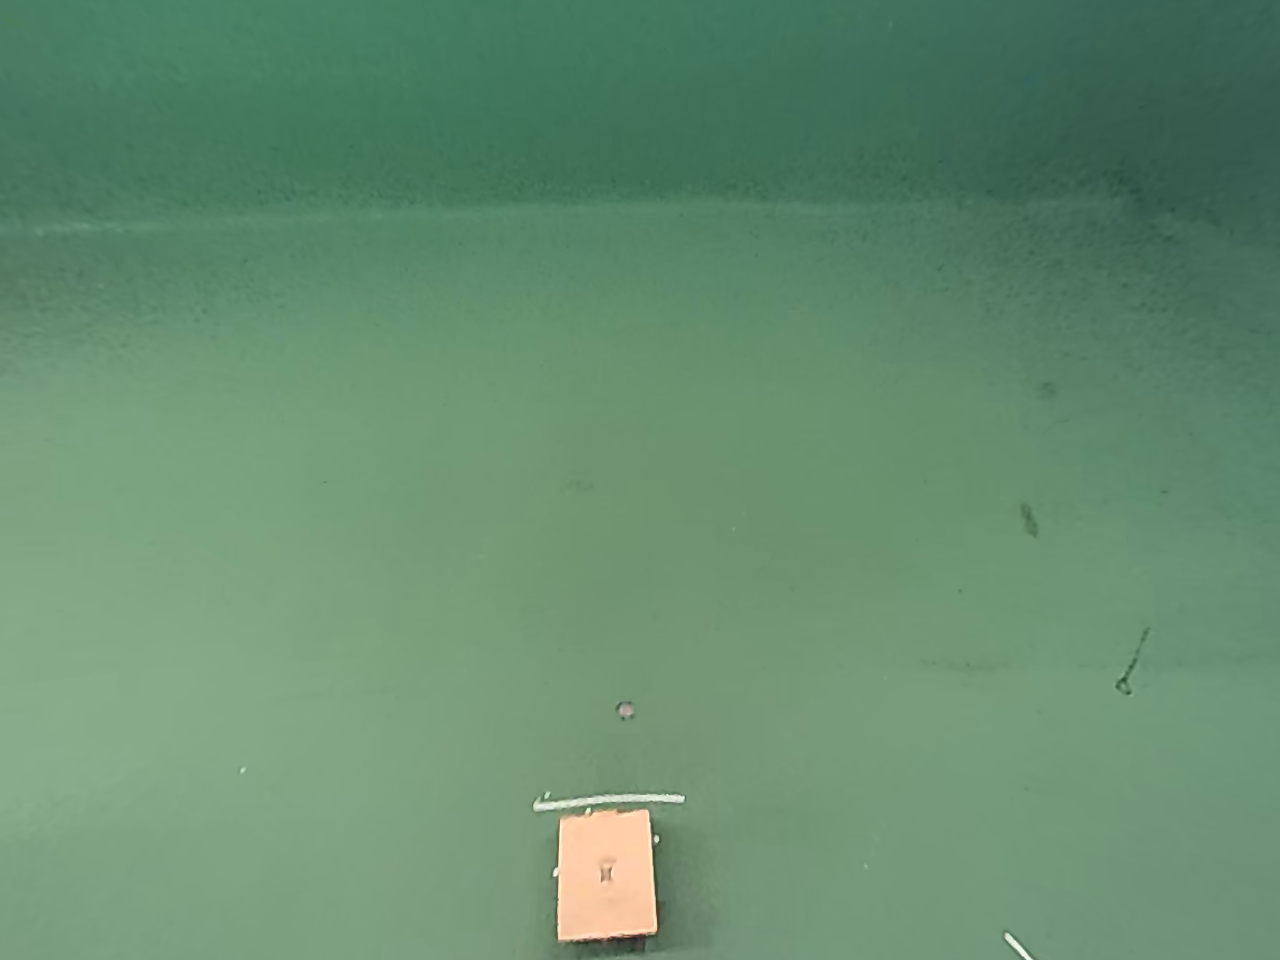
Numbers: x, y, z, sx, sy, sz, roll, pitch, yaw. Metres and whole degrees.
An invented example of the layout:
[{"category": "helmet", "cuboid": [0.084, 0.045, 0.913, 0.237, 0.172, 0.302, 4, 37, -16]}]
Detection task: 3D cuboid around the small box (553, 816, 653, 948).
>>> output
[{"category": "small box", "cuboid": [-0.066, 0.731, 0.989, 0.168, 0.176, 0.179, -4, 54, -2]}]
